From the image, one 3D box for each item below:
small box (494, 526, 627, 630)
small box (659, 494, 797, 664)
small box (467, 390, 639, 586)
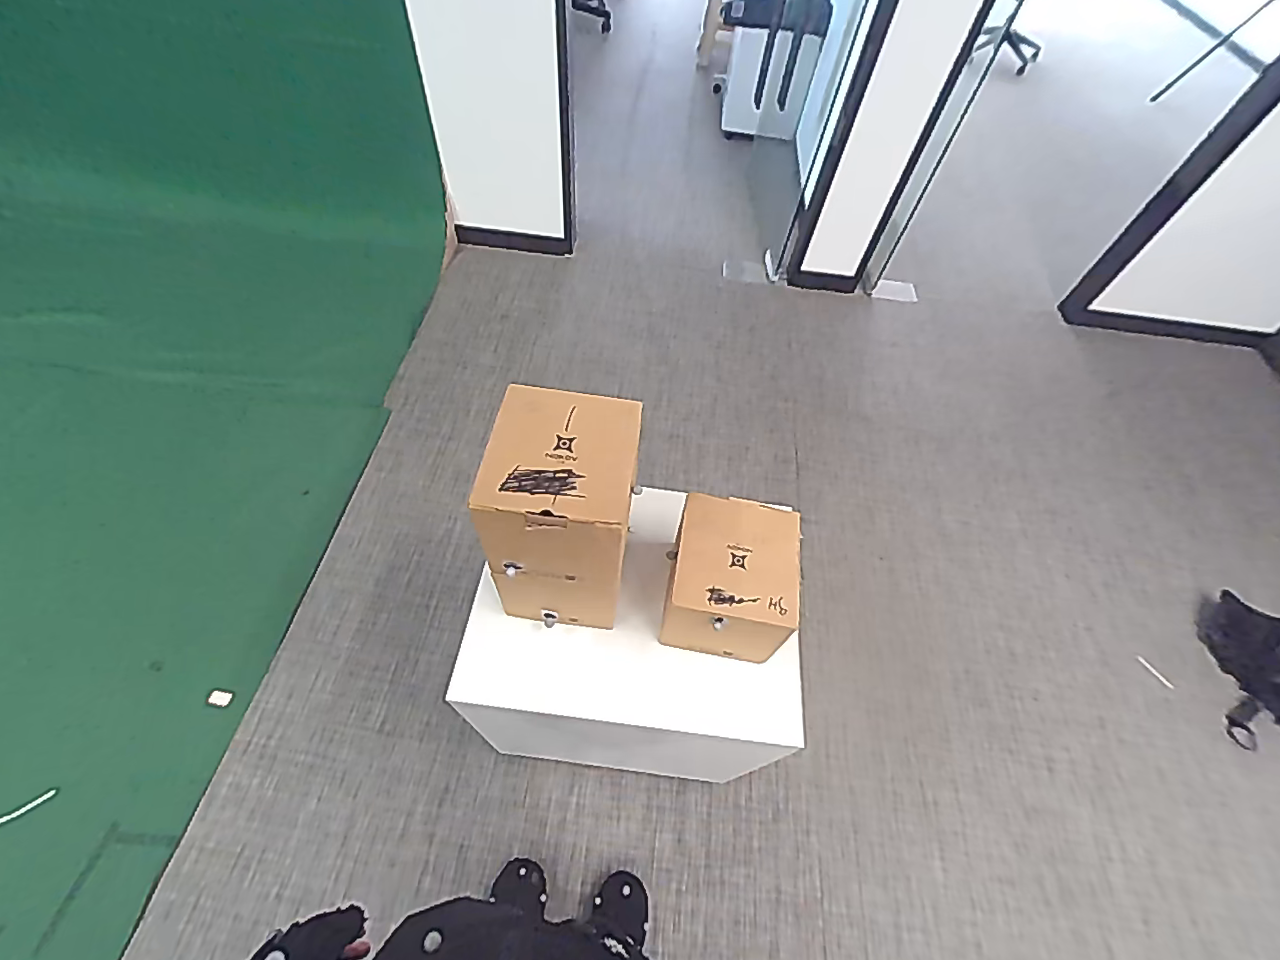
[{"bbox_3d":[-0.107,0.108,0.812,0.168,0.176,0.179,6,57,0],"label":"small box"},{"bbox_3d":[0.125,0.150,0.801,0.168,0.176,0.179,11,56,2],"label":"small box"},{"bbox_3d":[-0.096,0.016,0.676,0.168,0.176,0.179,8,55,0],"label":"small box"}]
